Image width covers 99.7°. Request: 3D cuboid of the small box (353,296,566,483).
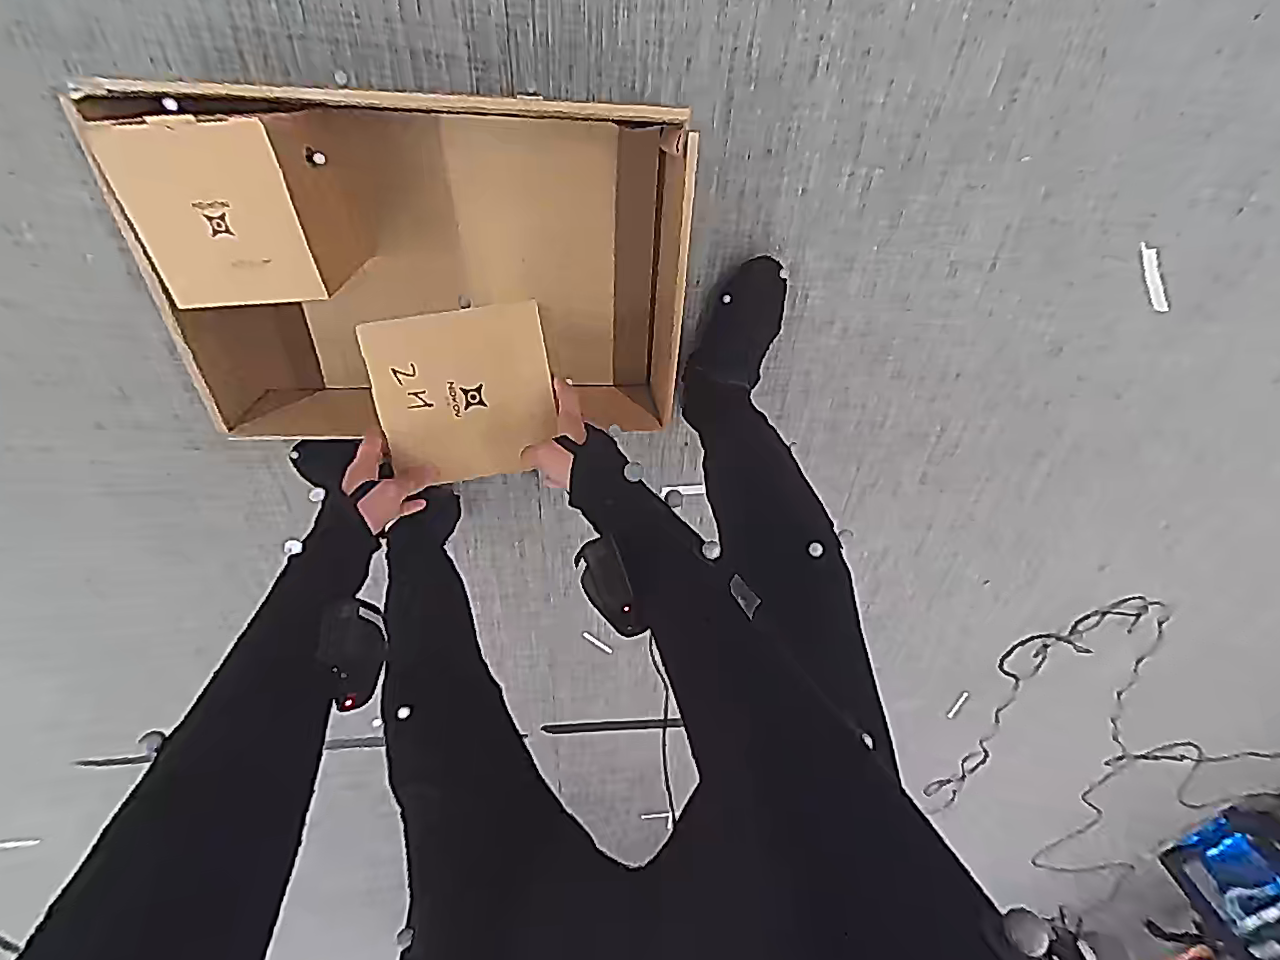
[{"bbox_3d":[-0.179,-0.107,0.604,0.179,0.176,0.168,-9,105,-2],"label":"small box"}]
